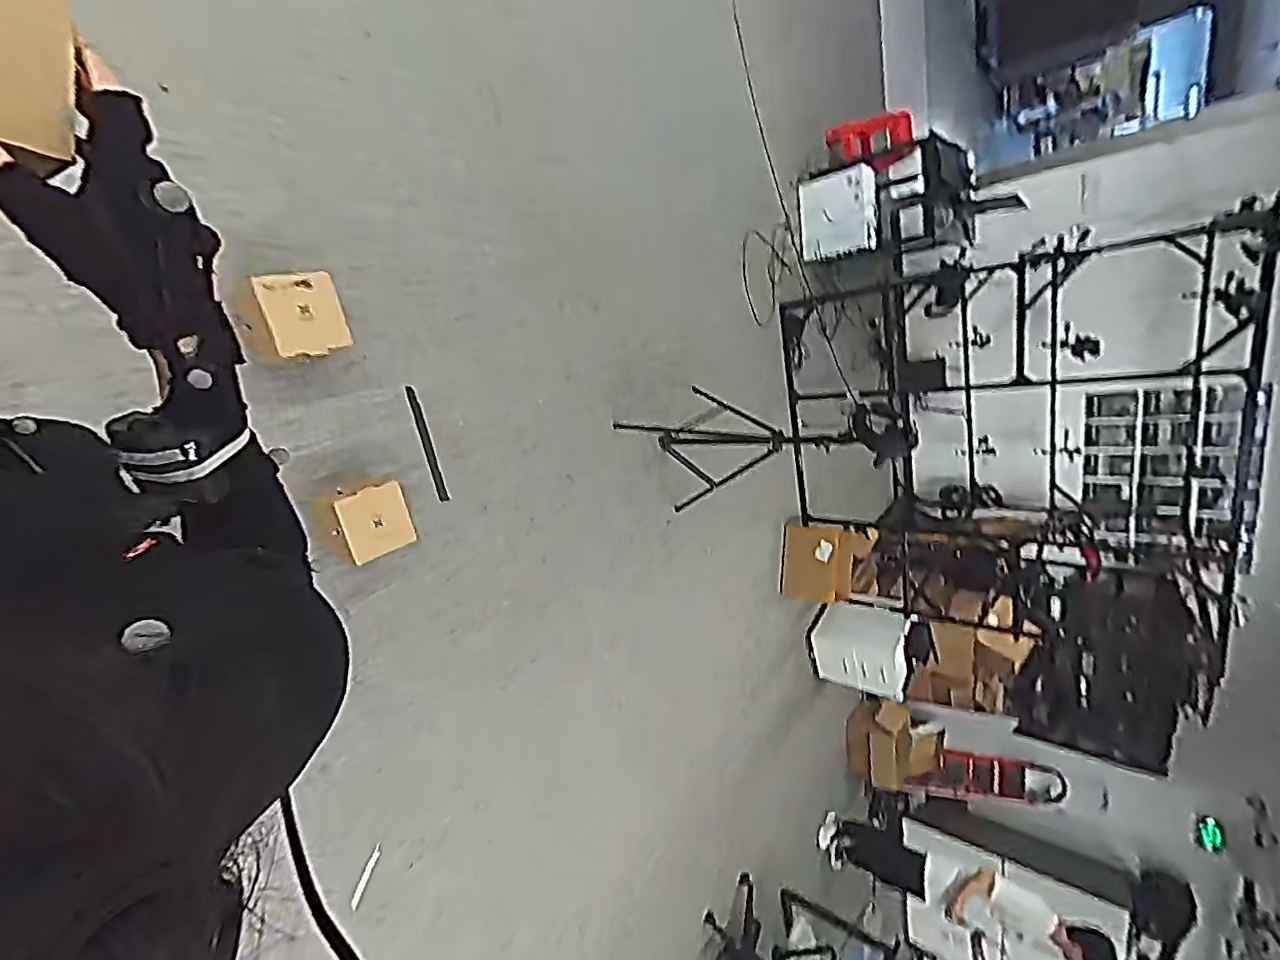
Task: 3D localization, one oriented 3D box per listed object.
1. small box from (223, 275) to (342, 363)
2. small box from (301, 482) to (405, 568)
[{"bbox_3d":[-0.844,-0.376,1.278,0.168,0.176,0.179,-28,113,-46],"label":"small box"},{"bbox_3d":[-0.755,0.109,1.416,0.168,0.176,0.179,-27,114,-44],"label":"small box"}]
